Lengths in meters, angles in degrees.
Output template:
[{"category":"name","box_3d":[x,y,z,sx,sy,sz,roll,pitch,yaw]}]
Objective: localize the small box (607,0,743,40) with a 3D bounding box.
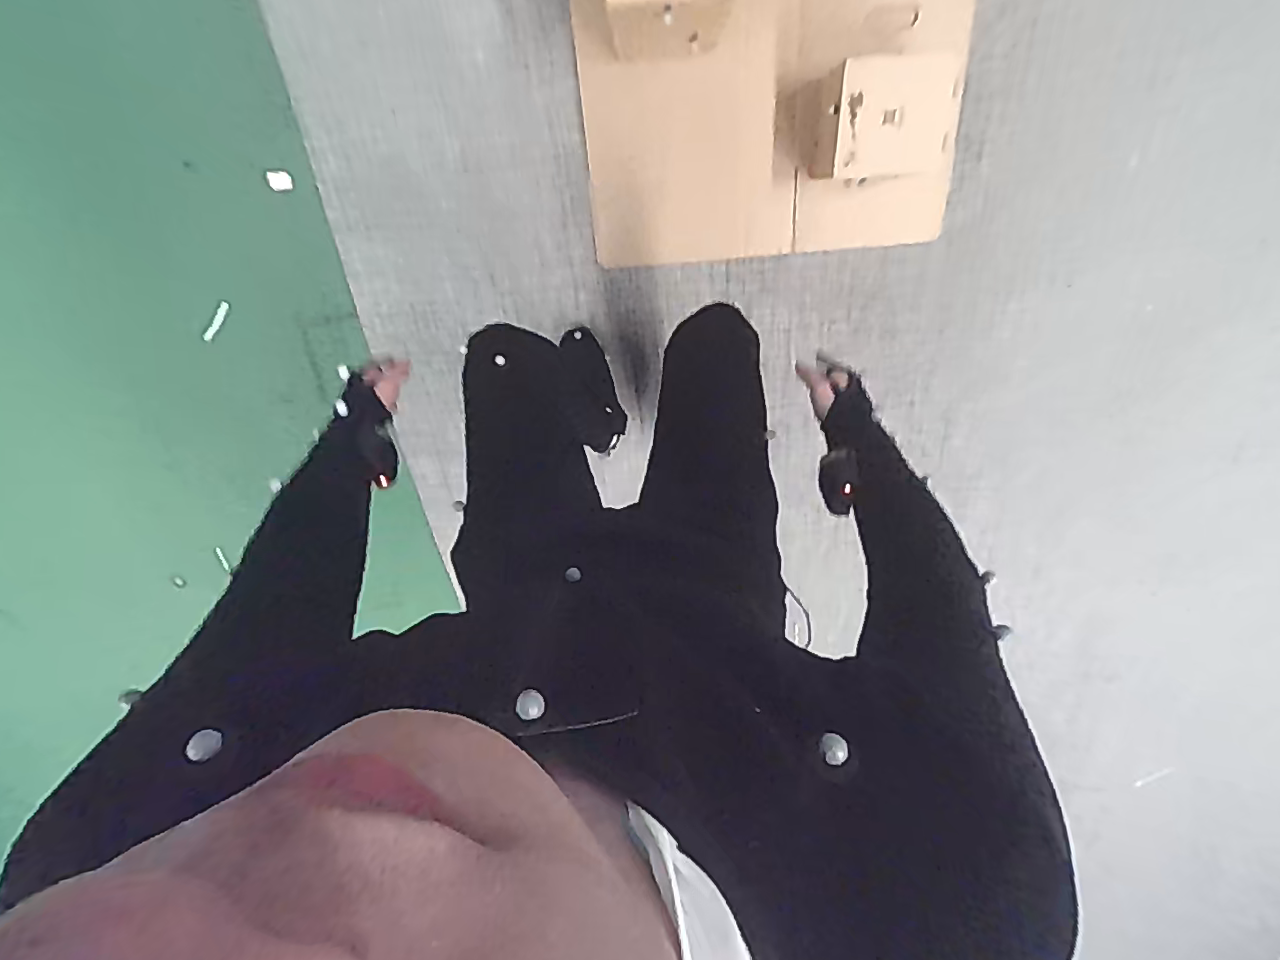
[{"category":"small box","box_3d":[0.044,-0.711,0.718,0.179,0.176,0.168,-2,118,4]}]

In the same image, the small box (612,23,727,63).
[{"category":"small box","box_3d":[0.044,-0.787,0.861,0.179,0.176,0.168,-2,117,4]}]

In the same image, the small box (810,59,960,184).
[{"category":"small box","box_3d":[0.411,-0.612,0.939,0.179,0.176,0.168,0,118,3]}]
